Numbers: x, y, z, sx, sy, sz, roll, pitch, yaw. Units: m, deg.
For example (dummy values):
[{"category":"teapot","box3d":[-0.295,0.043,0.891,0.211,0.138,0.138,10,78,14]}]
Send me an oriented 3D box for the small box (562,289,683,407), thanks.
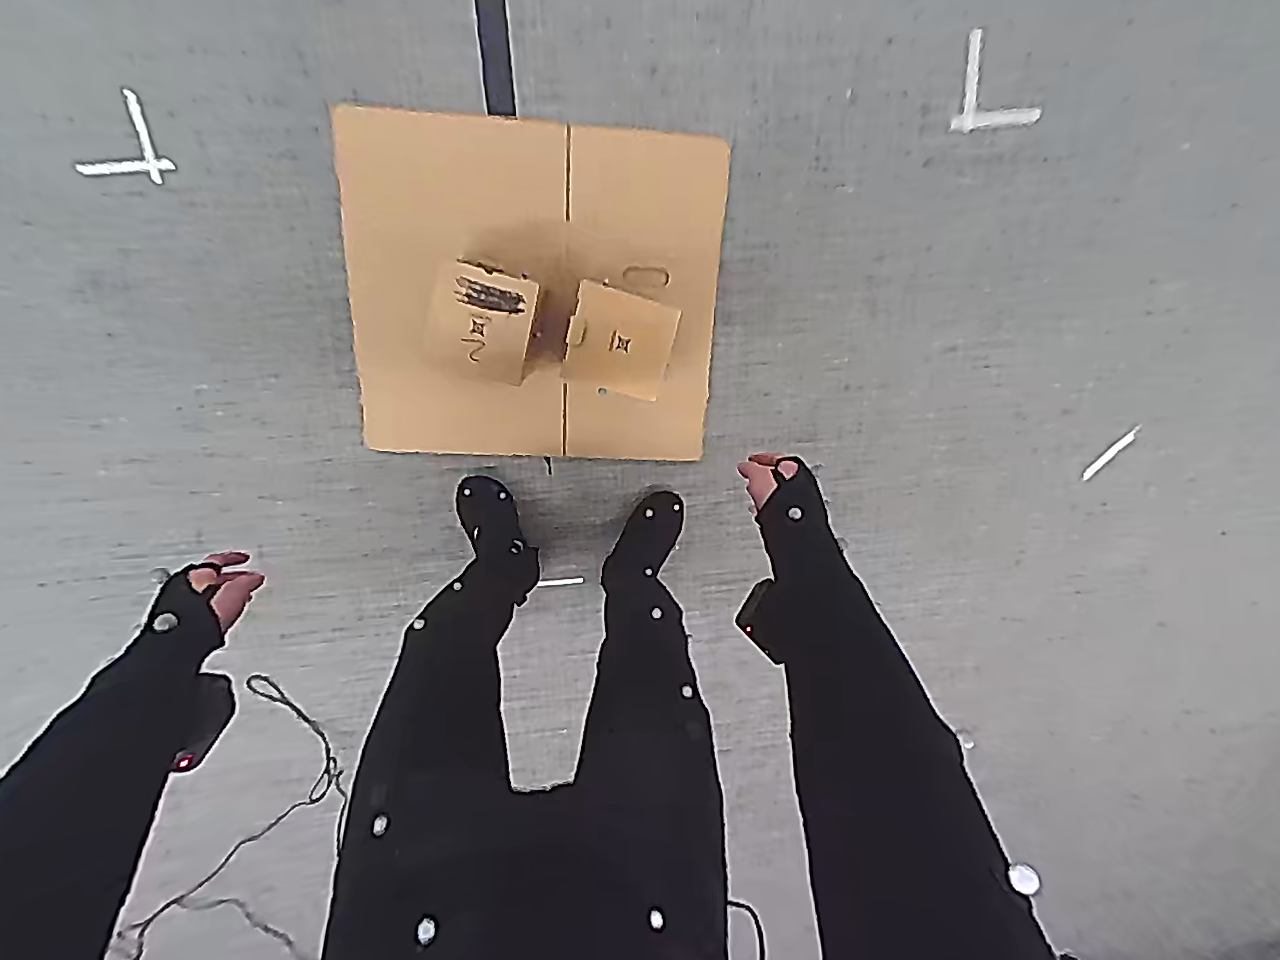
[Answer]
[{"category":"small box","box3d":[-0.036,-0.248,1.000,0.179,0.176,0.168,13,107,-8]}]
